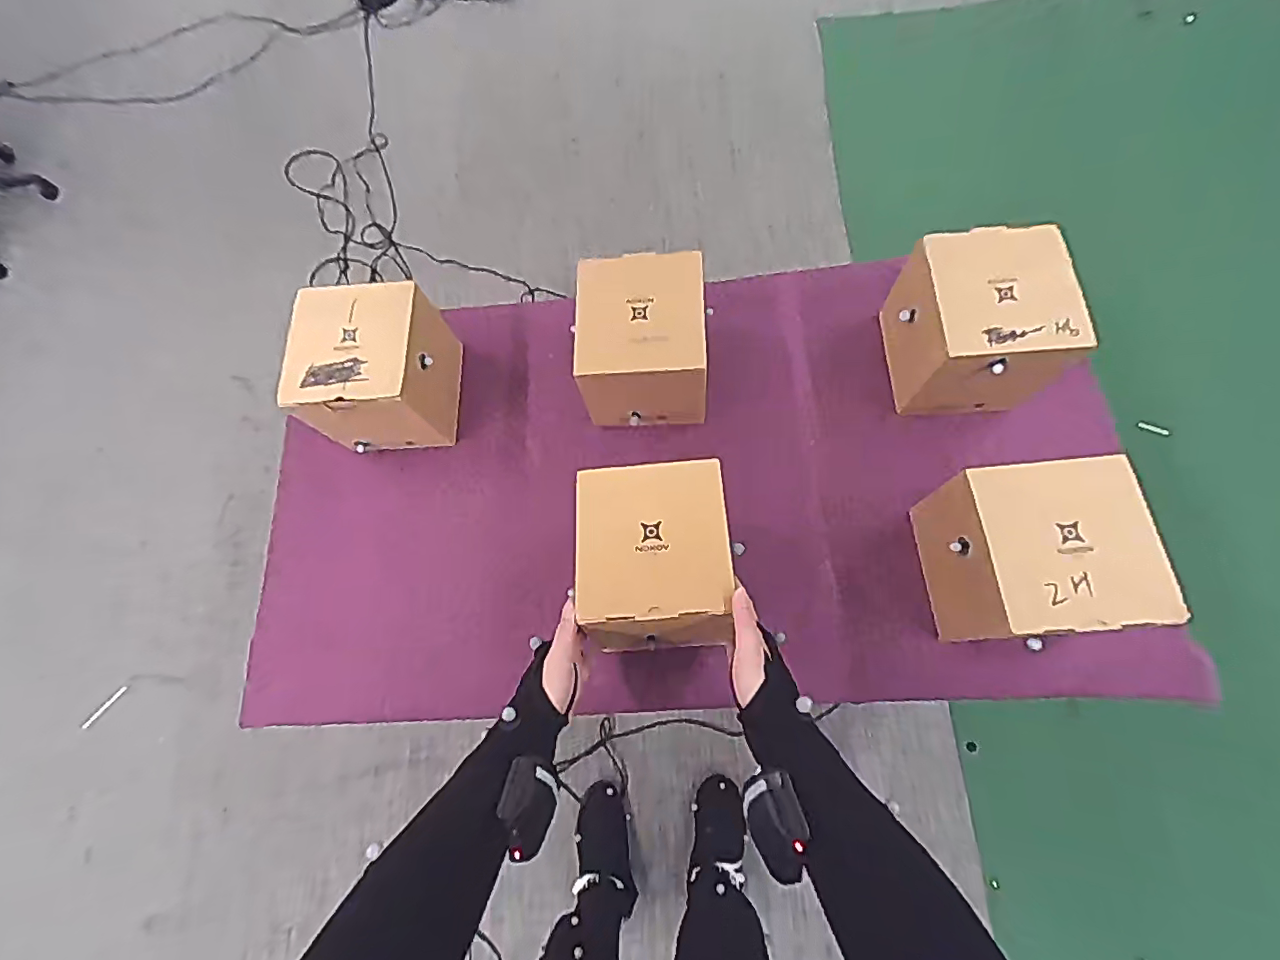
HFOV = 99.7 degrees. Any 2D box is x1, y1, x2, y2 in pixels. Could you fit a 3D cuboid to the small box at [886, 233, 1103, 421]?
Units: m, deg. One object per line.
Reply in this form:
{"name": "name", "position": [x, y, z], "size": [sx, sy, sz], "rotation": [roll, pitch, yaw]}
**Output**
{"name": "small box", "position": [0.445, -0.193, 0.715], "size": [0.168, 0.176, 0.179], "rotation": [-2, 73, 4]}

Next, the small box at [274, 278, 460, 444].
{"name": "small box", "position": [-0.366, -0.154, 0.759], "size": [0.168, 0.176, 0.179], "rotation": [-2, 73, 3]}

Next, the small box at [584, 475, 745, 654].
{"name": "small box", "position": [0.025, 0.107, 0.648], "size": [0.168, 0.176, 0.179], "rotation": [-3, 68, 2]}

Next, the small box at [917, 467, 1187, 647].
{"name": "small box", "position": [0.444, 0.098, 0.622], "size": [0.168, 0.176, 0.179], "rotation": [-4, 73, 4]}

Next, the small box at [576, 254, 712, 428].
{"name": "small box", "position": [0.010, -0.183, 0.746], "size": [0.168, 0.176, 0.179], "rotation": [-1, 74, 5]}
